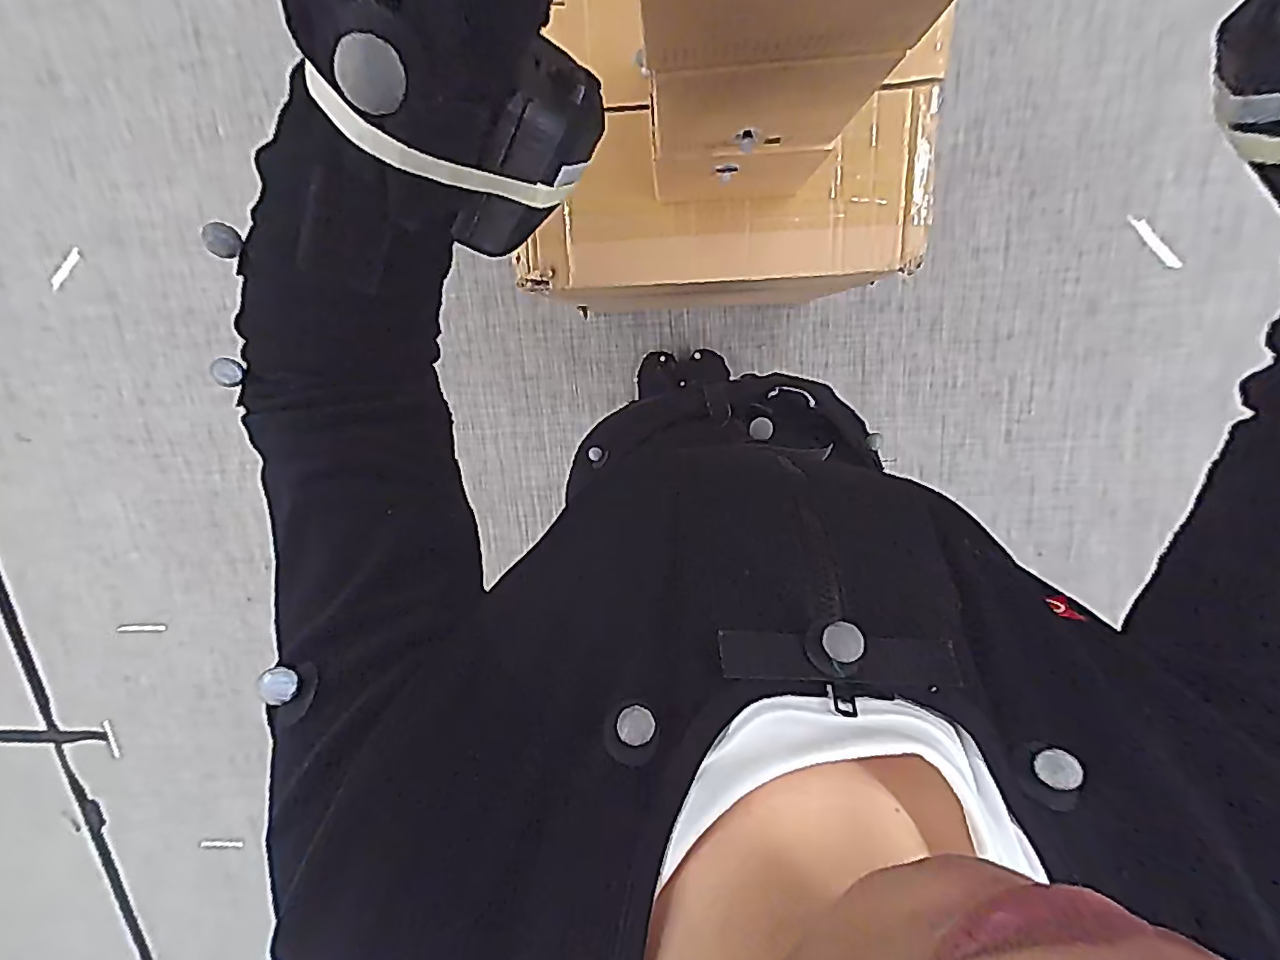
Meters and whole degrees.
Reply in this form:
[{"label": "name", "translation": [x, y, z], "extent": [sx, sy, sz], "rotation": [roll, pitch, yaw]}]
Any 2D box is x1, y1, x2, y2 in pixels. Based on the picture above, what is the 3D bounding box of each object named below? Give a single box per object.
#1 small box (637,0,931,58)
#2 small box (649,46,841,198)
[{"label": "small box", "translation": [0.082, -0.334, 0.251], "extent": [0.179, 0.176, 0.168], "rotation": [-1, 105, 4]}, {"label": "small box", "translation": [0.101, -0.409, 0.572], "extent": [0.179, 0.176, 0.168], "rotation": [-1, 104, 4]}]
